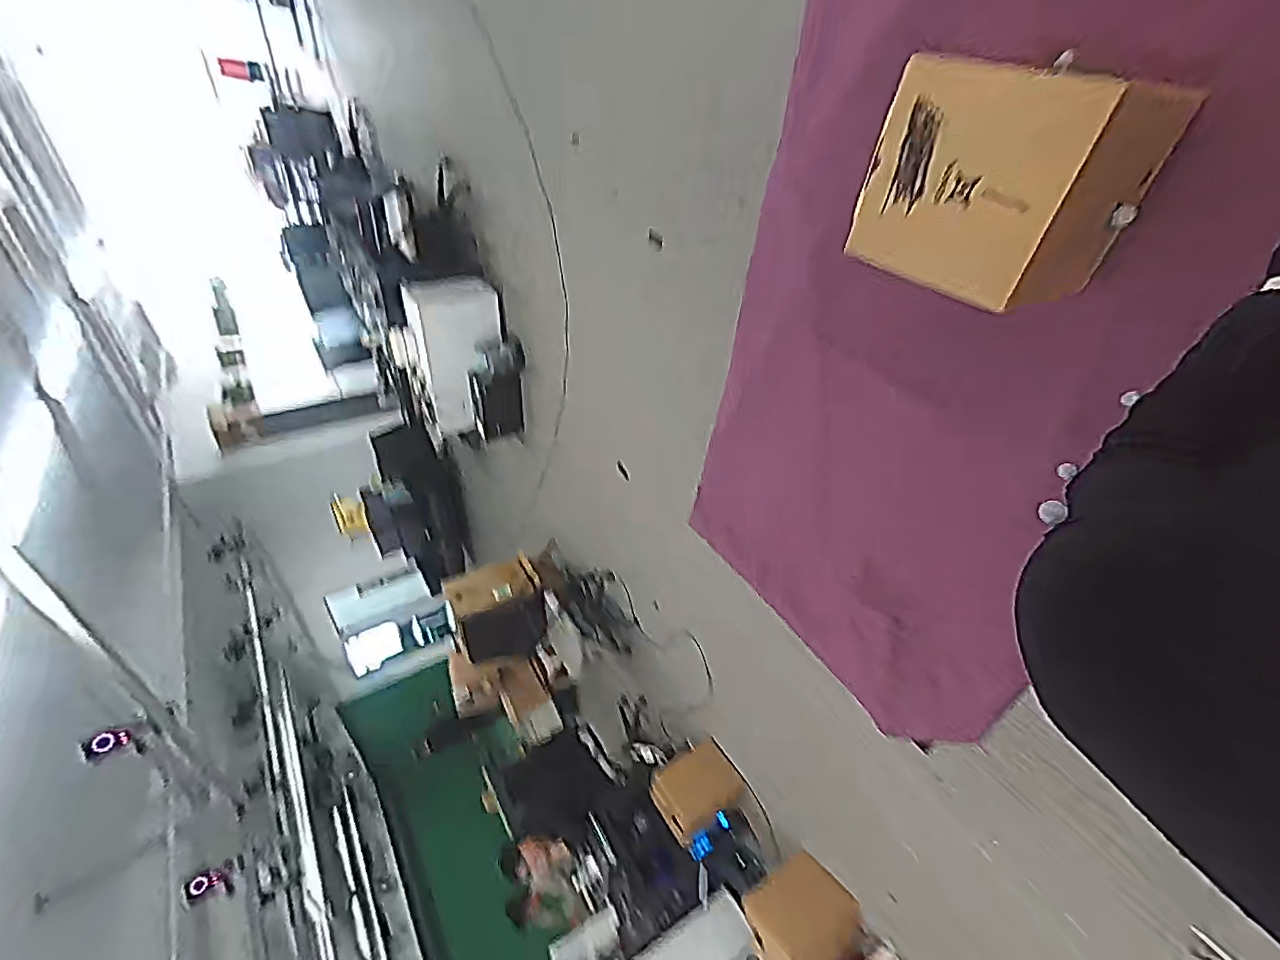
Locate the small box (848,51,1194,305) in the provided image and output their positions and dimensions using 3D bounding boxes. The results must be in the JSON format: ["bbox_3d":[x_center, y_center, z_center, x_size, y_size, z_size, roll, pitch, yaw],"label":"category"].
[{"bbox_3d":[0.340,-0.284,0.507,0.179,0.176,0.168,46,144,37],"label":"small box"}]
